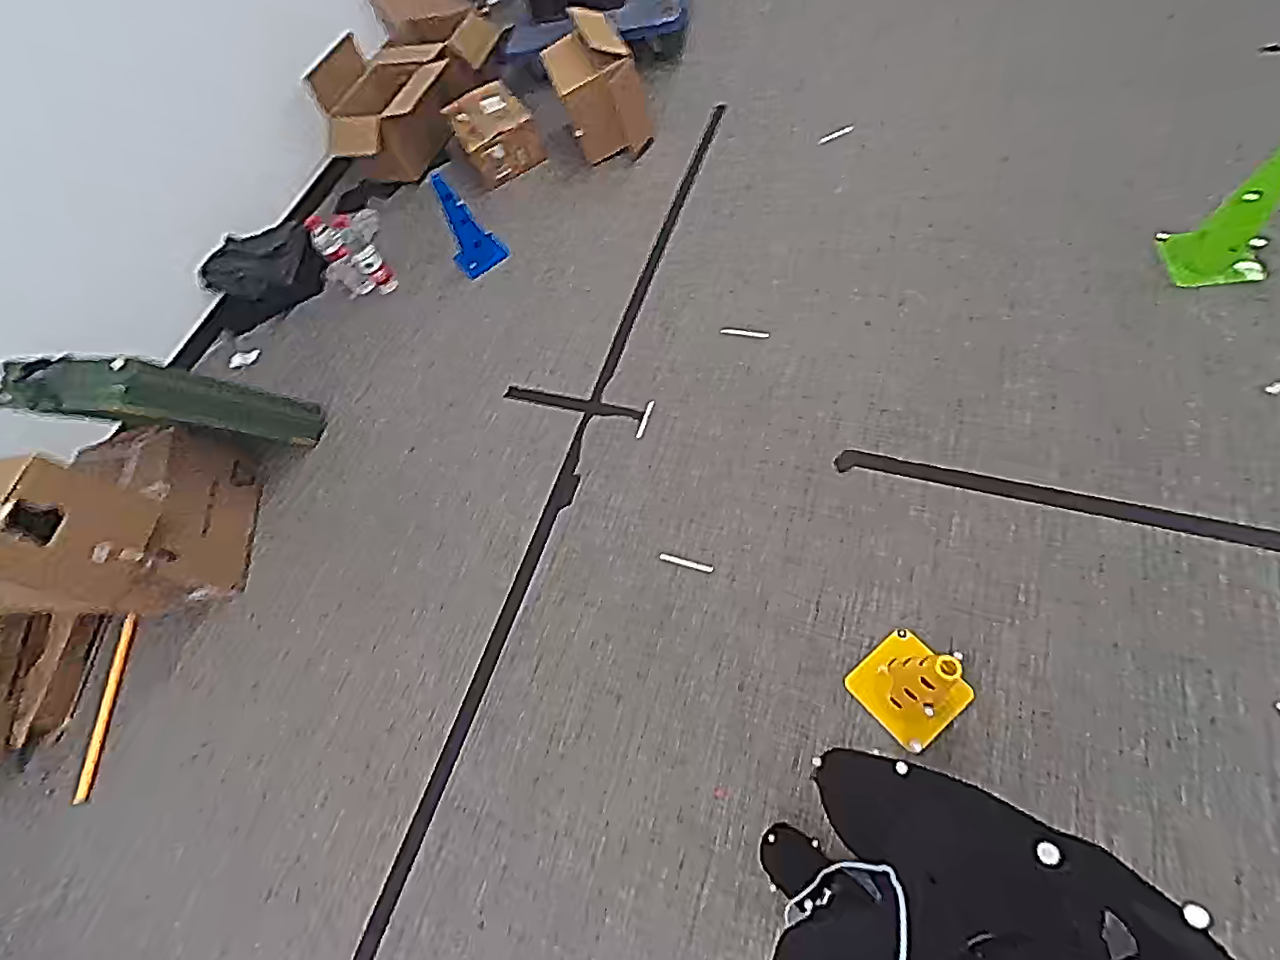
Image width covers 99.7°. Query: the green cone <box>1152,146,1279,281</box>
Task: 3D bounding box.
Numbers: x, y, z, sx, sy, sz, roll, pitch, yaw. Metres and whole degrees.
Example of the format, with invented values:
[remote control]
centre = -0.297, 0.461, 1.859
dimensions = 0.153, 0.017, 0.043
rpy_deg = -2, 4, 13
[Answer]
[green cone]
centre = 1.543, -0.712, 1.365
dimensions = 0.202, 0.368, 0.200
rpy_deg = -2, 64, 13
